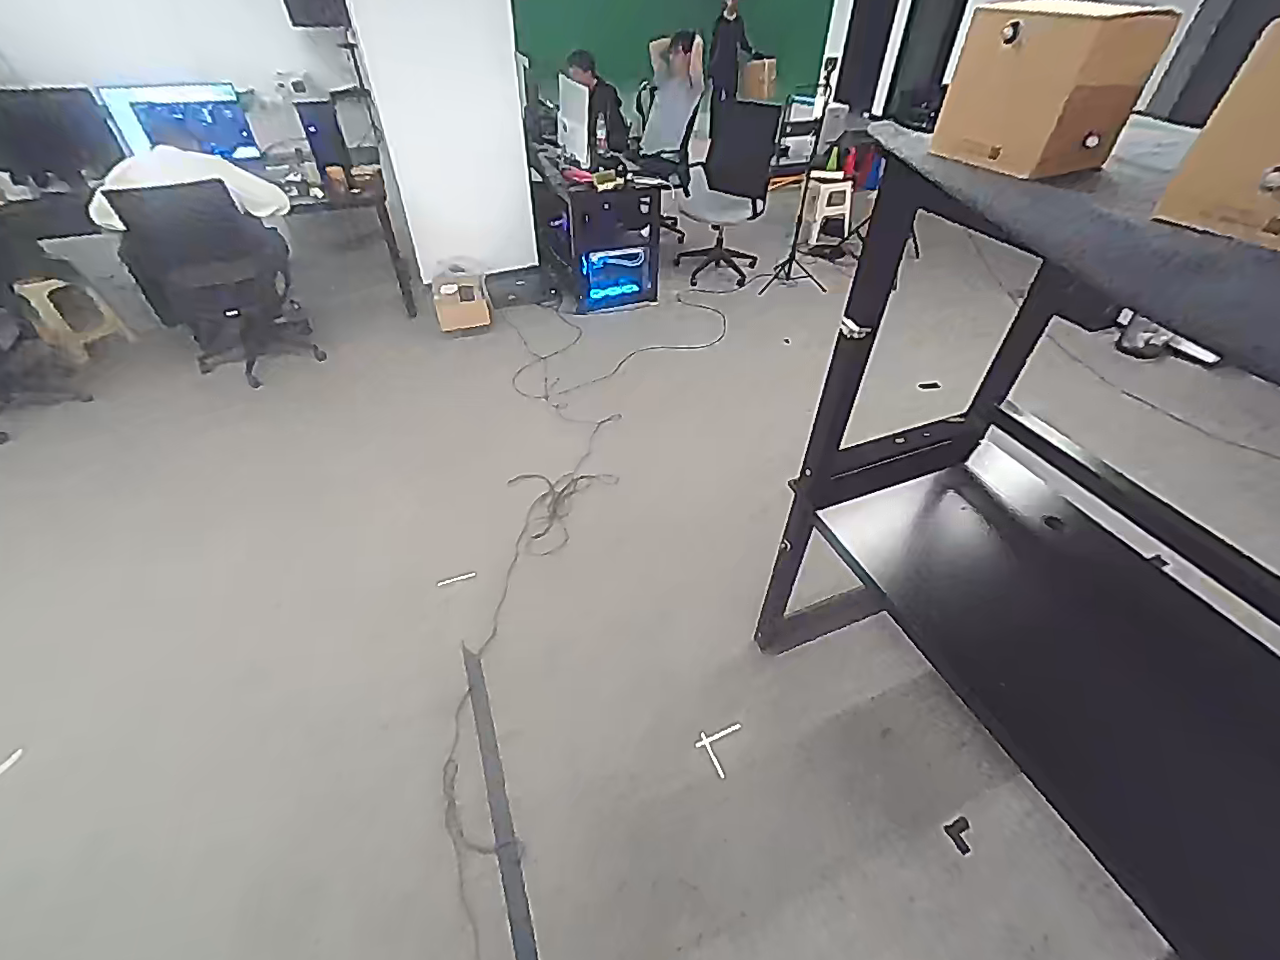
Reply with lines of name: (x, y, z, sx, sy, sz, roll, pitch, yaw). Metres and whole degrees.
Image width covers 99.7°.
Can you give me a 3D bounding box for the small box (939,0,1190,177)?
small box: (0.540, -0.522, 0.715, 0.179, 0.176, 0.168, -21, 48, -21)
